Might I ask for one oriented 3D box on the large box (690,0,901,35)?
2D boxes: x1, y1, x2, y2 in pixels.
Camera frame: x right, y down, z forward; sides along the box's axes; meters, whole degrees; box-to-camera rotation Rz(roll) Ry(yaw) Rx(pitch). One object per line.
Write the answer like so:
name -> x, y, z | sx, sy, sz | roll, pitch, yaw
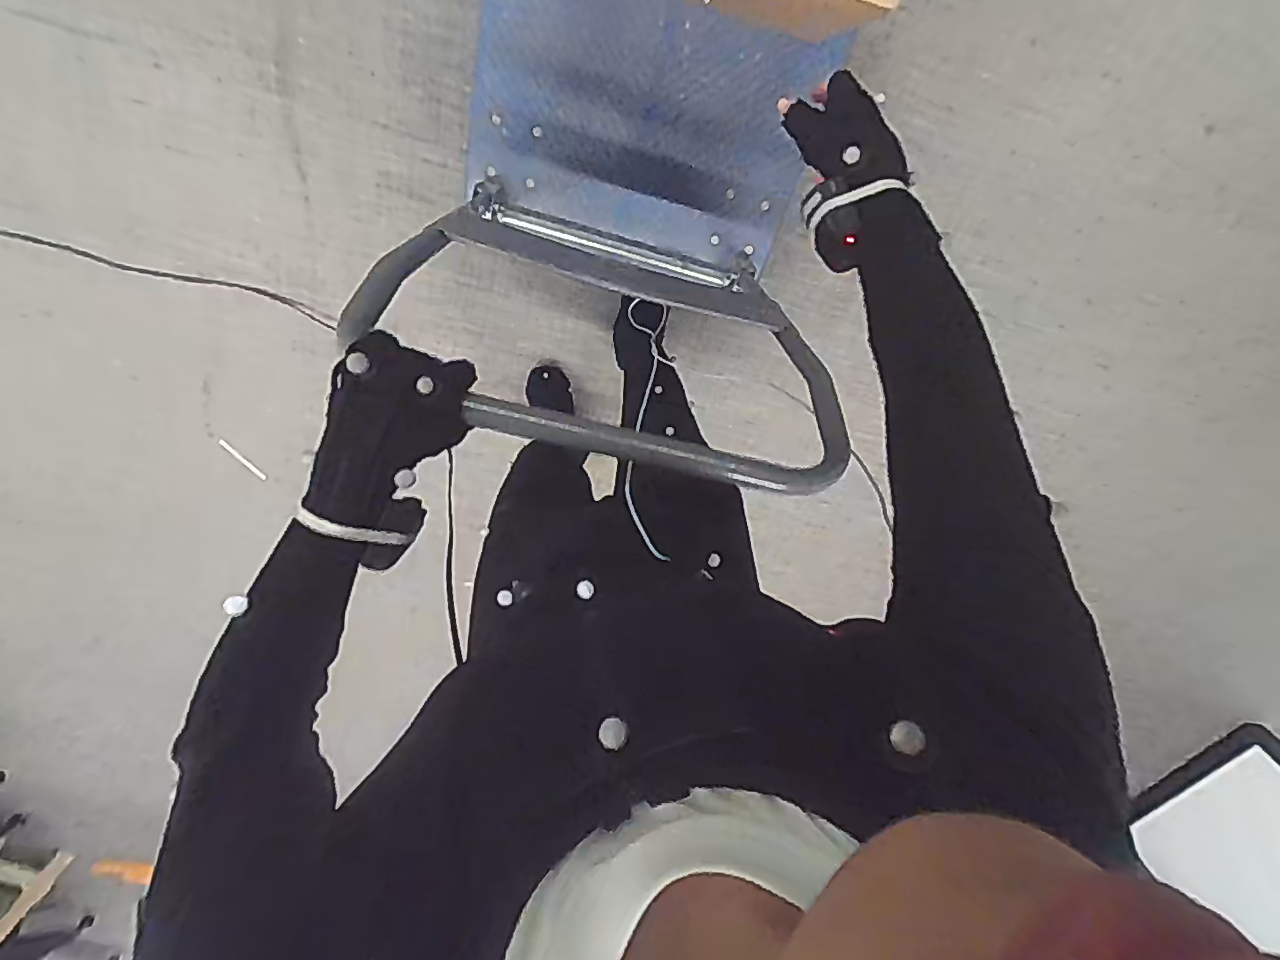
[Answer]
large box -> 0.133, -0.774, 0.633 | 0.408, 0.320, 0.320 | 11, 123, -7
